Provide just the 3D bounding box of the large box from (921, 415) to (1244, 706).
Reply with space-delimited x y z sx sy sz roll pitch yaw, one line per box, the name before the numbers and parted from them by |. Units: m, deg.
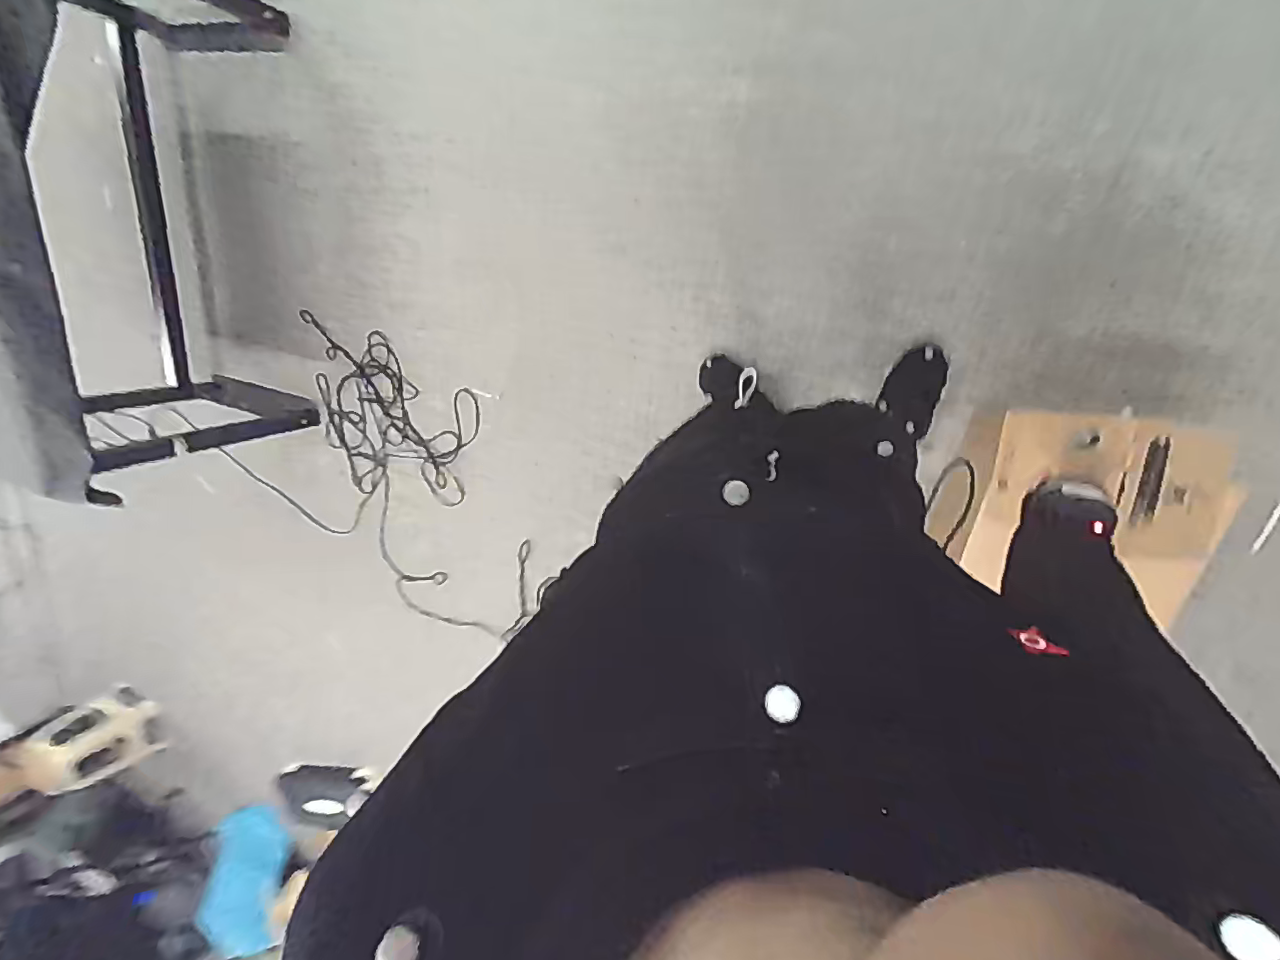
large box | 0.761 0.120 1.018 0.320 0.320 0.408 15 113 19
